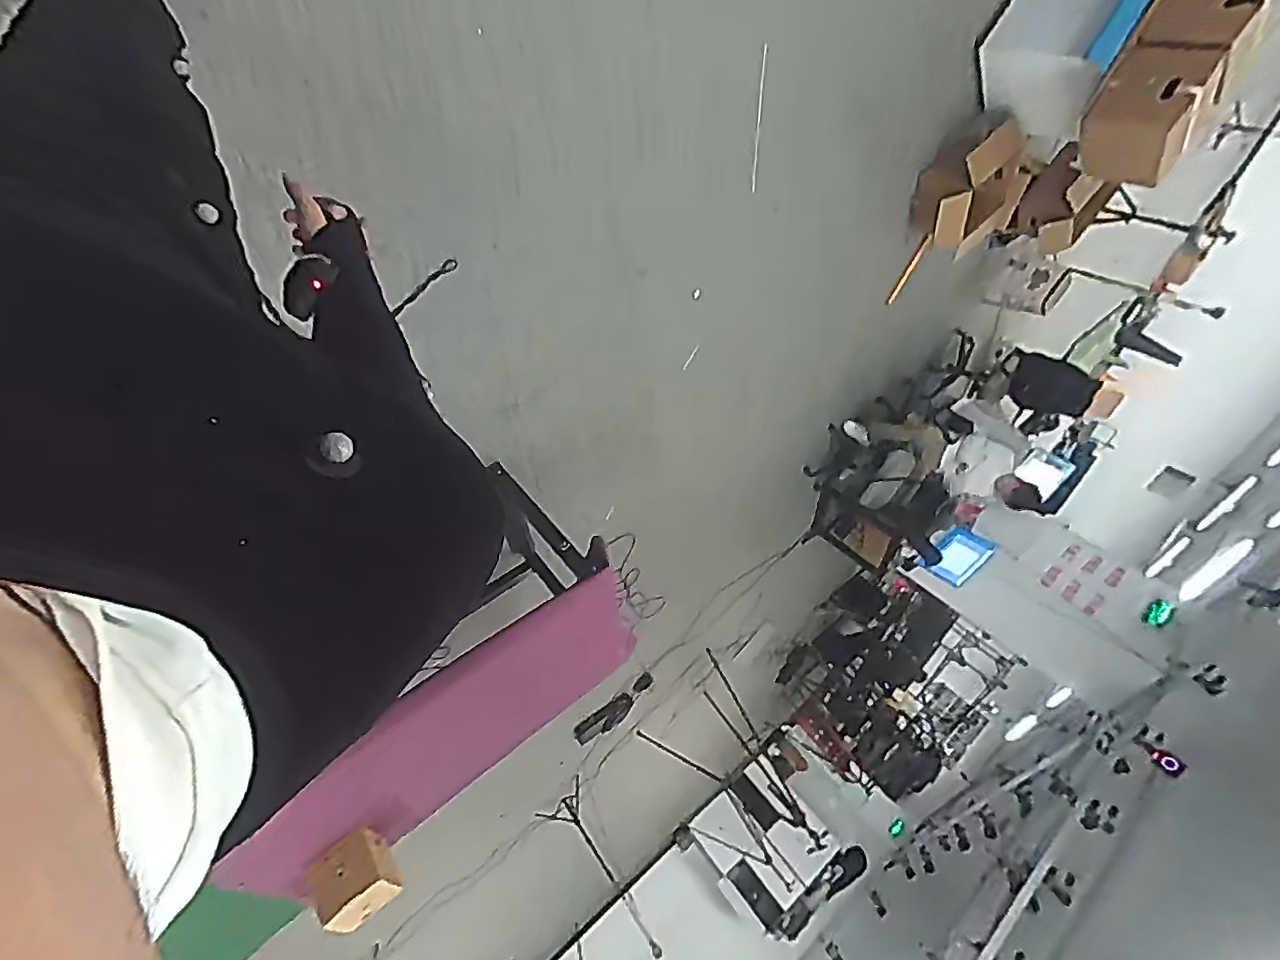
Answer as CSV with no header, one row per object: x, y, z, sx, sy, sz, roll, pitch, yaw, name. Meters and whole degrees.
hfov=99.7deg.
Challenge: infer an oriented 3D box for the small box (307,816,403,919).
-0.824,1.114,1.562,0.168,0.176,0.179,-31,141,-23,small box
